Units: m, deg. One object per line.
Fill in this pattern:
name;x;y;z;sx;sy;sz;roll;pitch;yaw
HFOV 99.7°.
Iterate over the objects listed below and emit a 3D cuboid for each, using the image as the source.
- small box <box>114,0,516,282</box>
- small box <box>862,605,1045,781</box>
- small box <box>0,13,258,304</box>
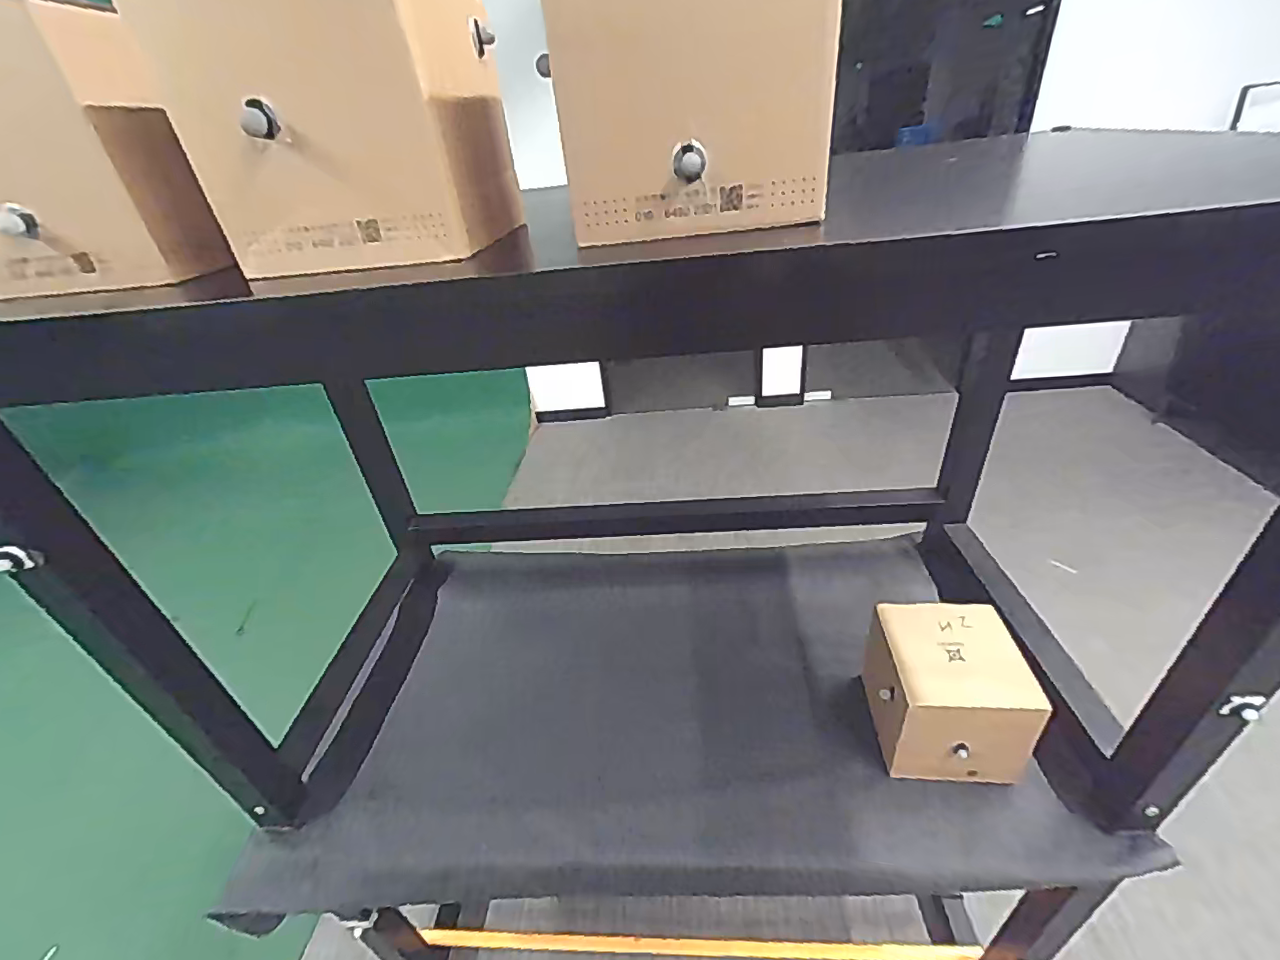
small box;-0.206;-0.255;0.411;0.168;0.176;0.179;-3;32;7
small box;0.428;0.302;0.774;0.168;0.176;0.179;-1;32;9
small box;-0.429;-0.252;0.444;0.168;0.176;0.179;-3;34;6
